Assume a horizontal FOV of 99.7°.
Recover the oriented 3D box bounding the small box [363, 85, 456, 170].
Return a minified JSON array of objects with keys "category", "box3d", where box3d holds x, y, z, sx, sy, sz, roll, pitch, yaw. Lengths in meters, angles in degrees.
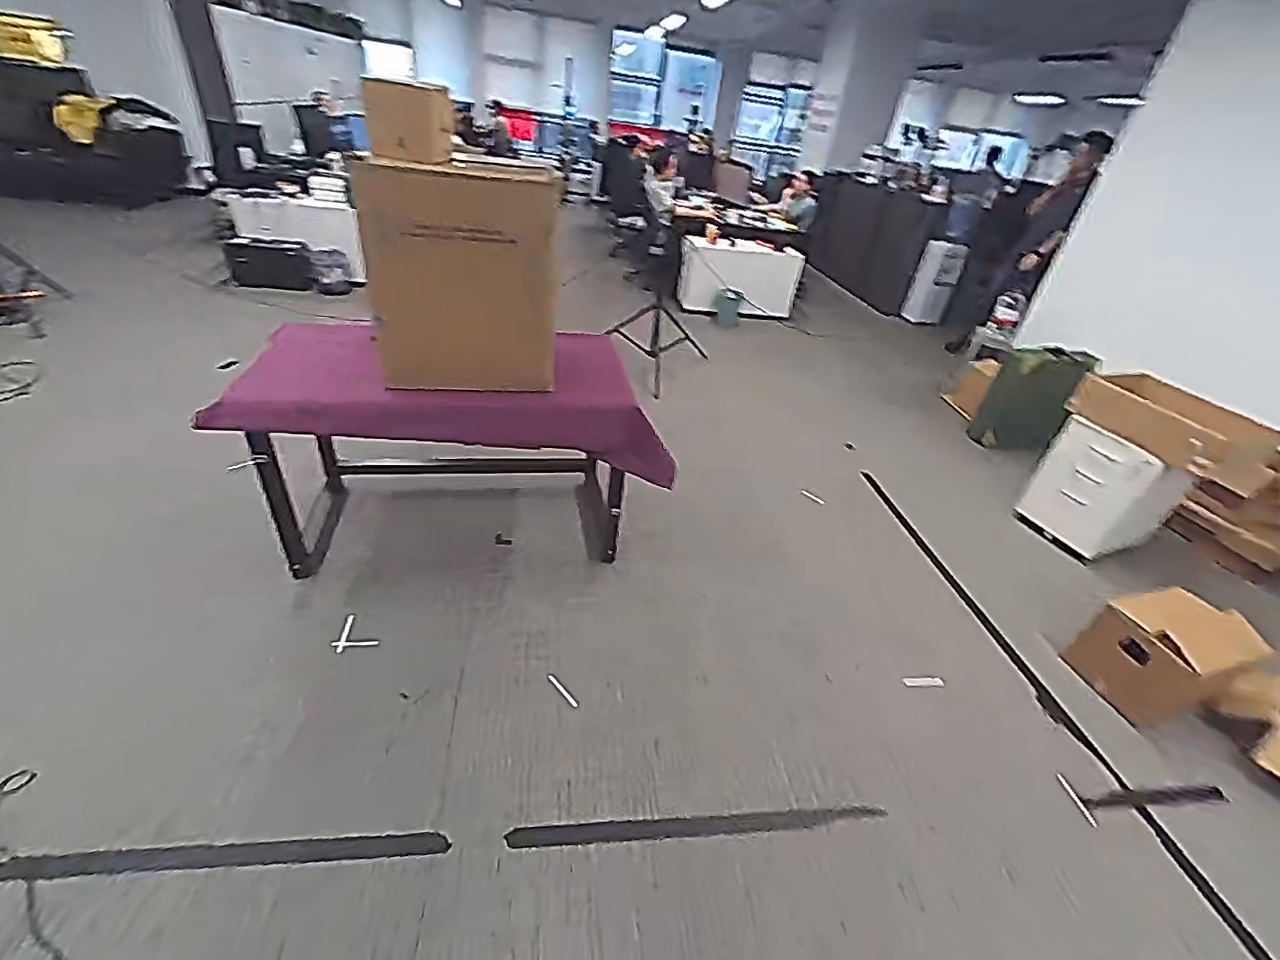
[{"category":"small box","box3d":[-0.601,-0.936,1.441,0.179,0.176,0.168,9,36,-2]}]
